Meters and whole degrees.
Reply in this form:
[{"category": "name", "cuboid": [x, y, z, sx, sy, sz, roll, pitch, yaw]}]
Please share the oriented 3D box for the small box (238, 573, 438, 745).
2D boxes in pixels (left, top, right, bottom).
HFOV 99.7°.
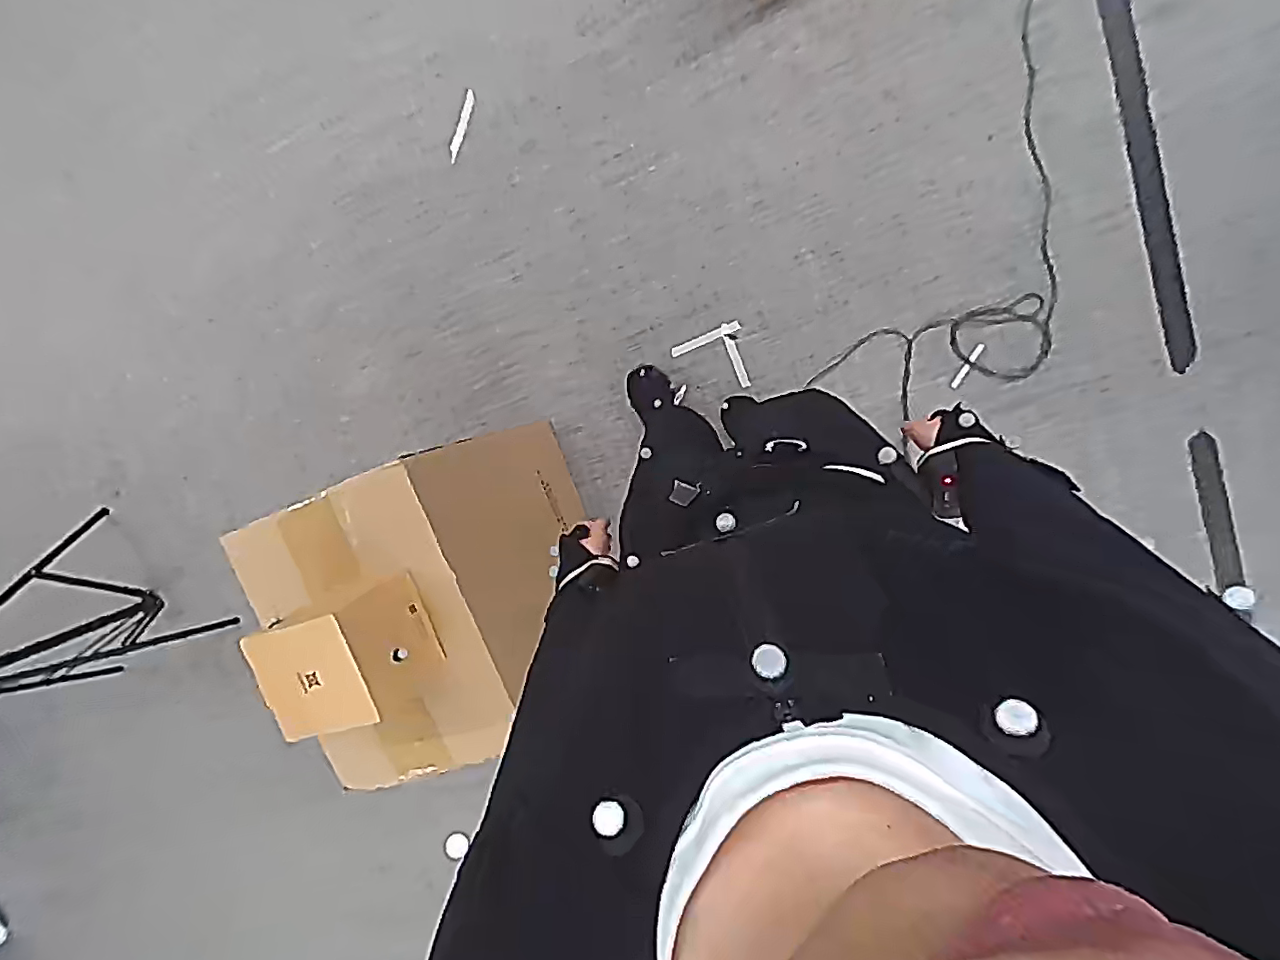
[{"category": "small box", "cuboid": [-0.431, 0.257, 0.808, 0.179, 0.176, 0.168, -18, 98, 15]}]
